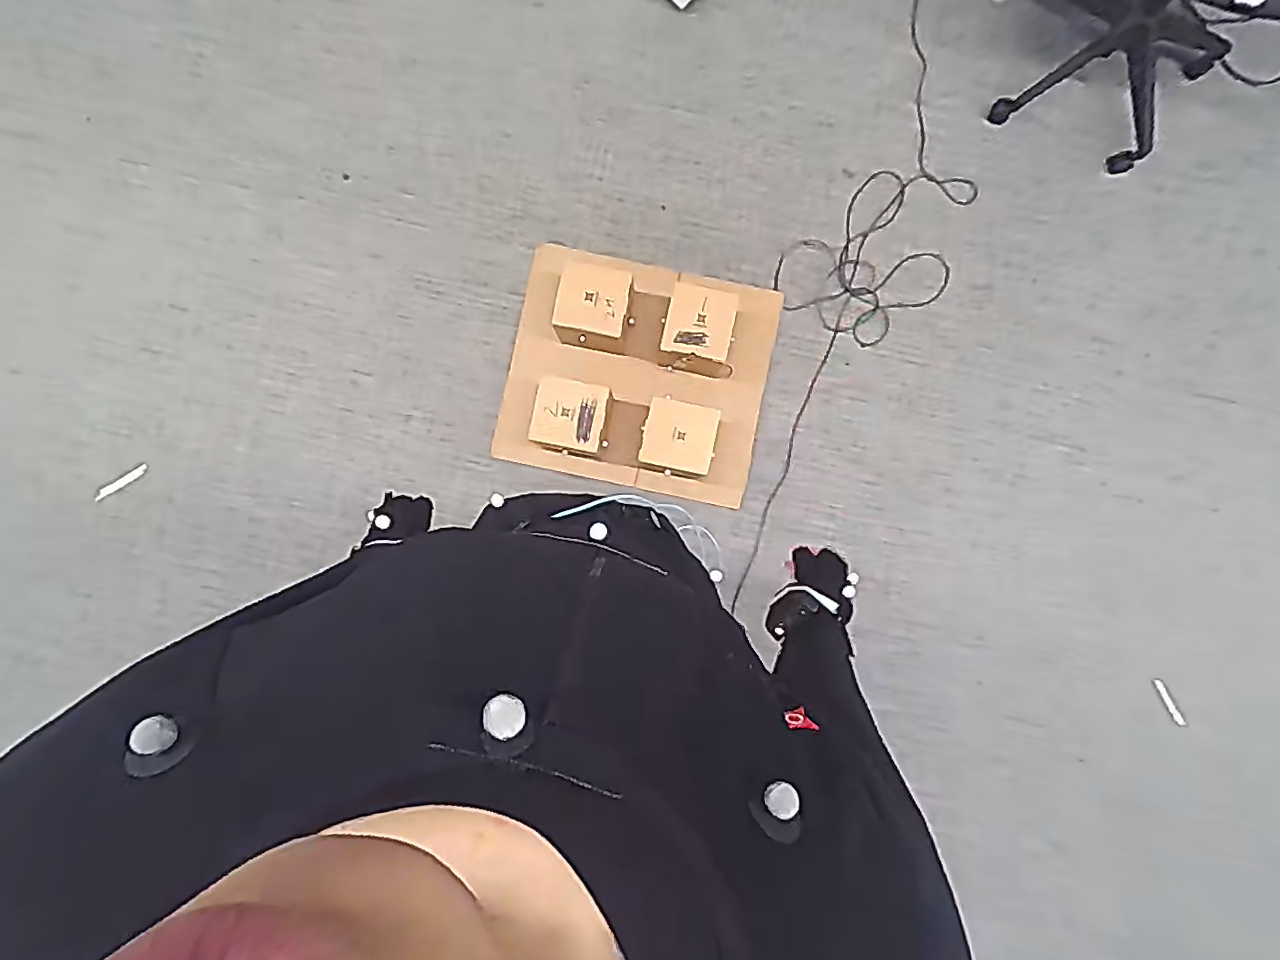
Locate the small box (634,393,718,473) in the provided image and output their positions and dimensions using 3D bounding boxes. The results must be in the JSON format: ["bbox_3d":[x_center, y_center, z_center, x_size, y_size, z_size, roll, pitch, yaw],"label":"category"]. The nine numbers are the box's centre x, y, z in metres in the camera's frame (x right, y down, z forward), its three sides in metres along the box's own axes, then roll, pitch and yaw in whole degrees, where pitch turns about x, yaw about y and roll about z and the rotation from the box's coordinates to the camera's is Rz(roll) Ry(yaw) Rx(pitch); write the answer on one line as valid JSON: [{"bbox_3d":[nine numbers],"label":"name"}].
[{"bbox_3d":[0.091,-0.114,1.397,0.179,0.176,0.168,13,88,2],"label":"small box"}]
